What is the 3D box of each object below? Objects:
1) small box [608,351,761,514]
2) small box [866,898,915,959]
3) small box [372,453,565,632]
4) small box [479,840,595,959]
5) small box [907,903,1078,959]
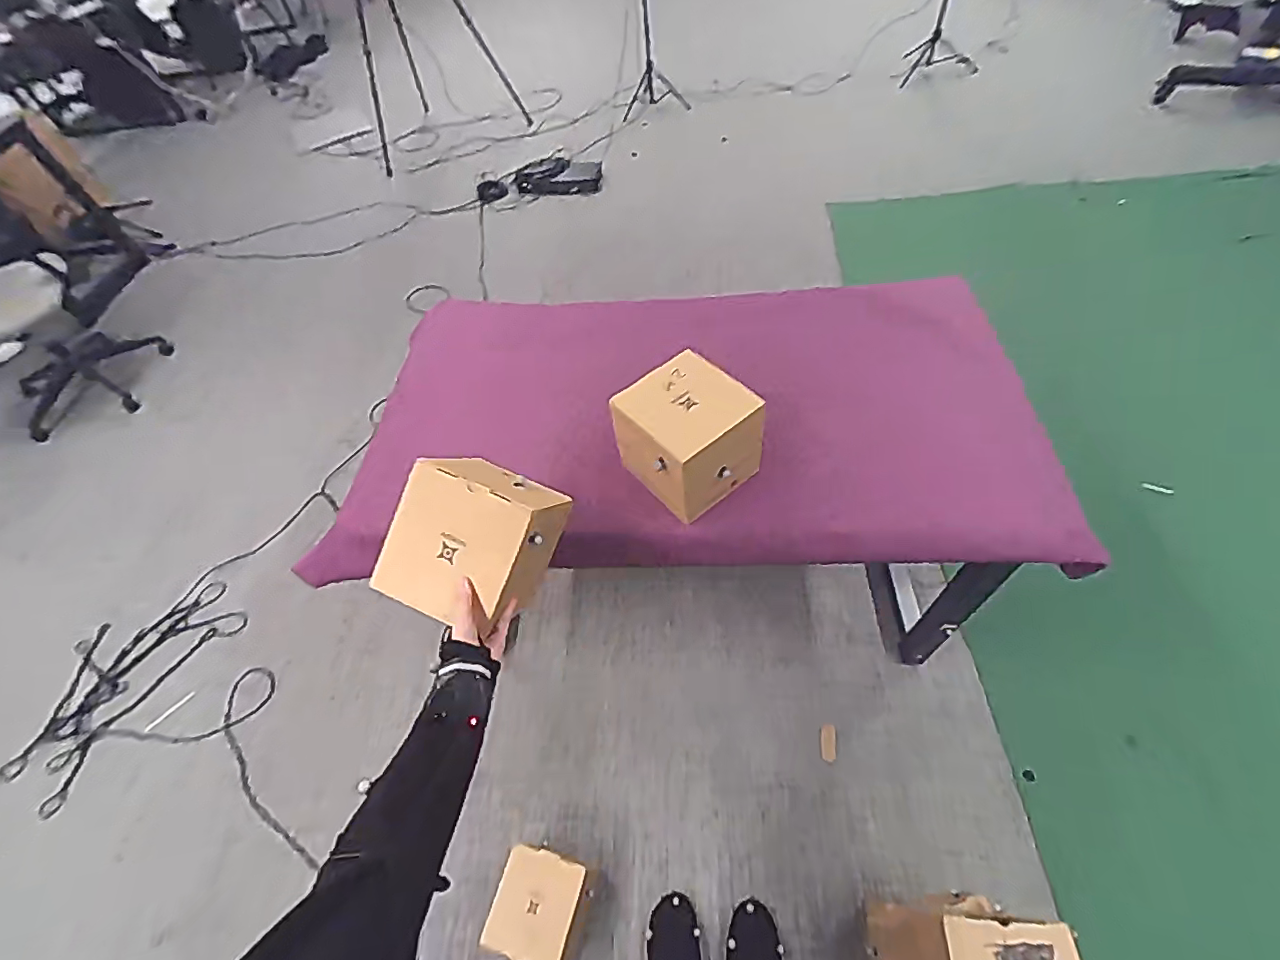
[{"bbox_3d":[0.073,-0.069,0.877,0.168,0.176,0.179,-35,57,-18],"label":"small box"},{"bbox_3d":[0.530,0.909,1.018,0.179,0.176,0.168,6,56,12],"label":"small box"},{"bbox_3d":[-0.220,0.075,0.738,0.168,0.176,0.179,22,94,7],"label":"small box"},{"bbox_3d":[-0.203,0.884,1.132,0.168,0.176,0.179,10,57,15],"label":"small box"},{"bbox_3d":[0.495,0.712,0.756,0.168,0.176,0.179,0,56,6],"label":"small box"}]
